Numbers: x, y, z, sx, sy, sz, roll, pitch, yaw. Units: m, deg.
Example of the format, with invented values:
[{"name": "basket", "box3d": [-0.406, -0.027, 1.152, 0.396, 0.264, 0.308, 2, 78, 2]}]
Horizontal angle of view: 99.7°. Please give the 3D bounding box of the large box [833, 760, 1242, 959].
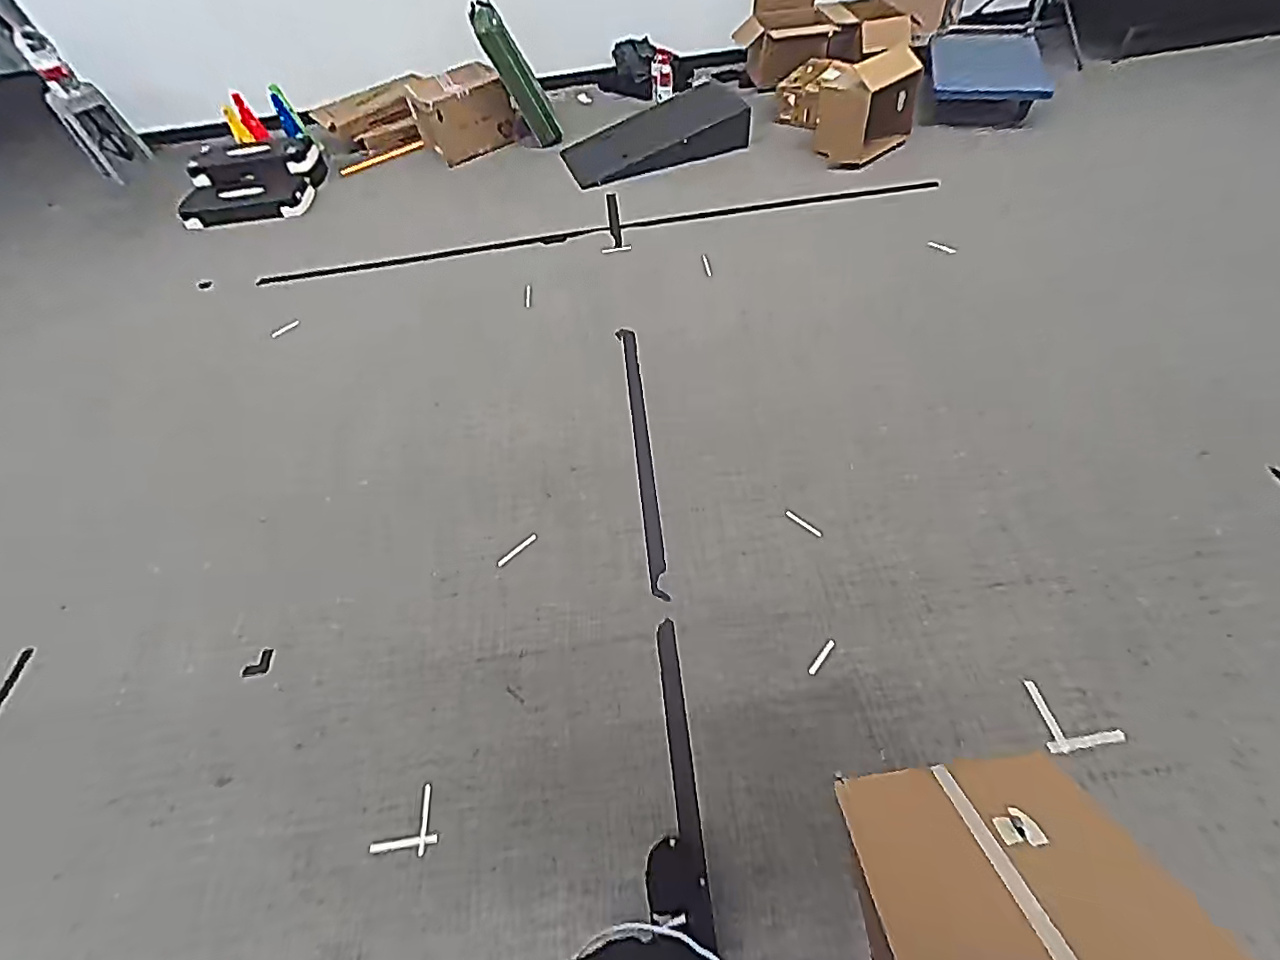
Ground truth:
[{"name": "large box", "box3d": [0.465, 0.620, 0.648, 0.320, 0.408, 0.320, -11, 95, 7]}]
